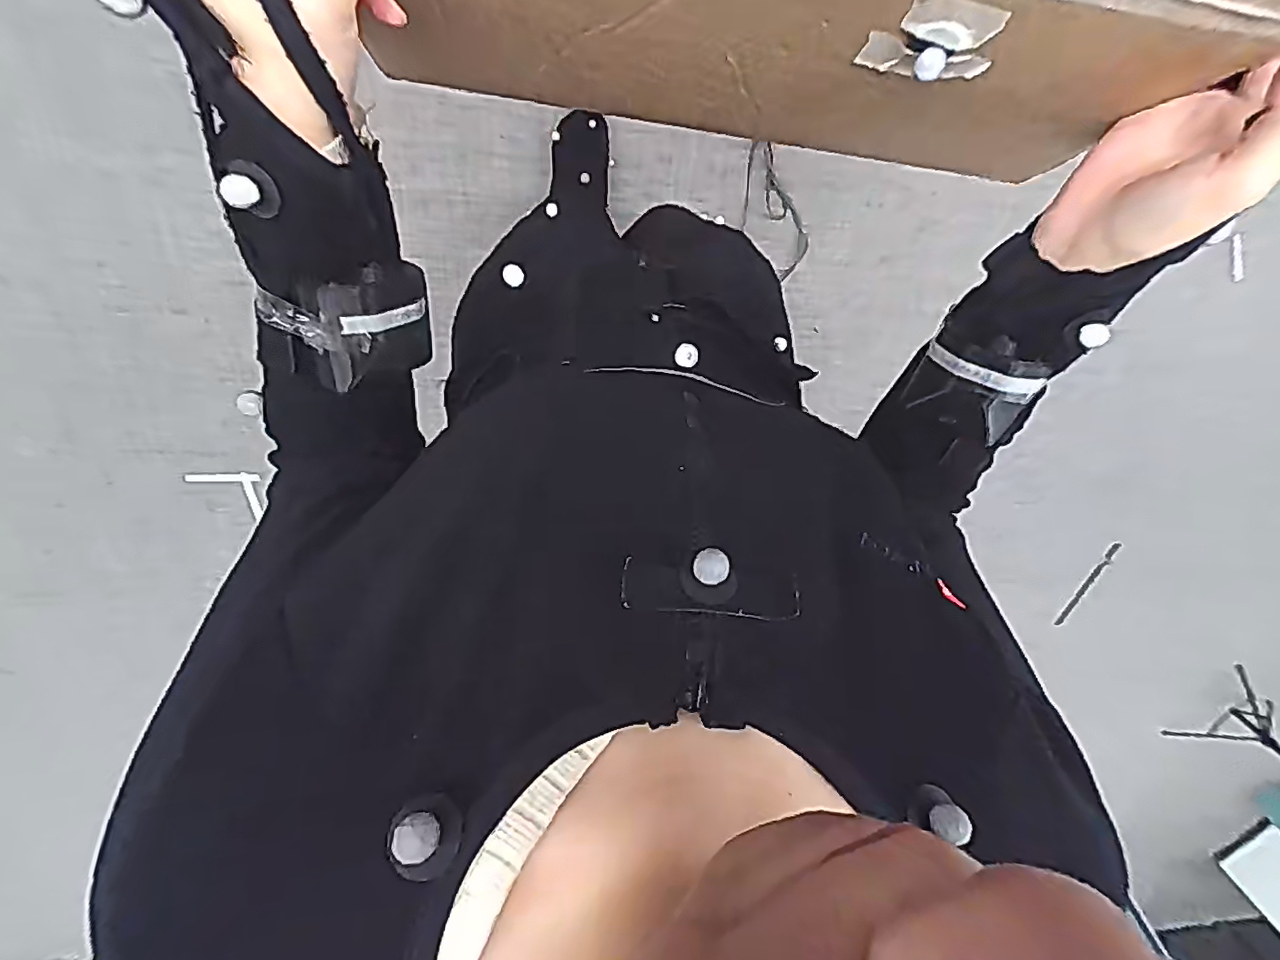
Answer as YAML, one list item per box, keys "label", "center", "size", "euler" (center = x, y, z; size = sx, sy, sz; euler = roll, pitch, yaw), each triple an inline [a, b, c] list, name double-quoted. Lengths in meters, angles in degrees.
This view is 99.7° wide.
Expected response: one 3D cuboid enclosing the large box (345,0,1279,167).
- label: "large box"
  center: [0.076, -0.352, 0.172]
  size: [0.408, 0.320, 0.320]
  euler: [4, 98, -7]
